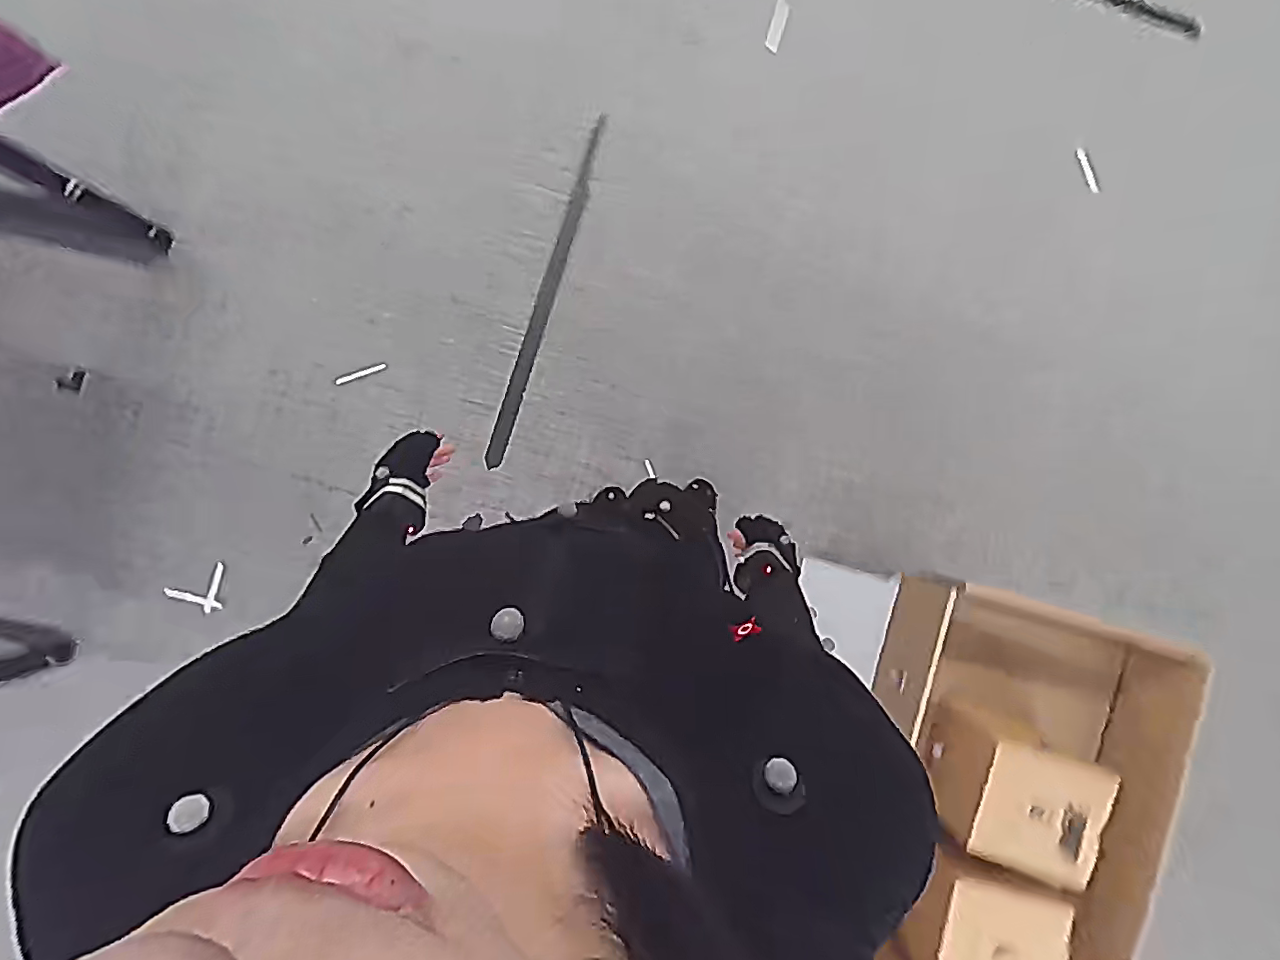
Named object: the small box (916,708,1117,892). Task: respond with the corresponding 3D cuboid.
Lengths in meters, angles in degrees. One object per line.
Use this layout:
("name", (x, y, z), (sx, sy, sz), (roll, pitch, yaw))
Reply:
("small box", (0.578, 0.487, 0.853), (0.179, 0.176, 0.168), (18, 88, 3))
